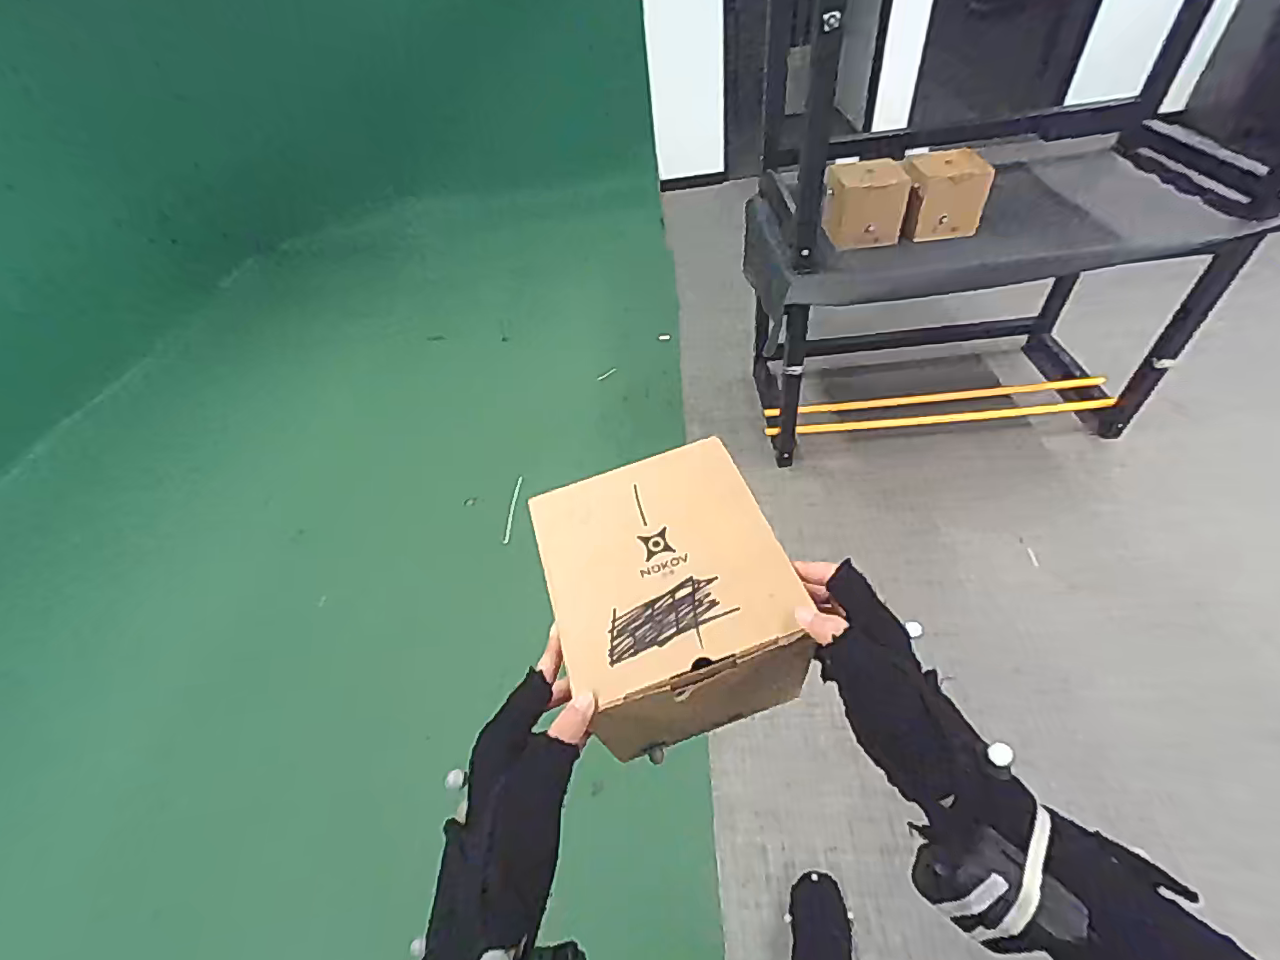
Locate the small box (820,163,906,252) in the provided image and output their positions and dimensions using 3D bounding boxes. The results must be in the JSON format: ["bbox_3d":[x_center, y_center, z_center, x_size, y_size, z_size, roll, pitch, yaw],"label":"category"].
[{"bbox_3d":[0.609,-0.754,1.502,0.168,0.176,0.179,-5,47,5],"label":"small box"}]

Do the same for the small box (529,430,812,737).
[{"bbox_3d":[0.023,0.094,0.449,0.168,0.176,0.179,-18,51,-4],"label":"small box"}]
